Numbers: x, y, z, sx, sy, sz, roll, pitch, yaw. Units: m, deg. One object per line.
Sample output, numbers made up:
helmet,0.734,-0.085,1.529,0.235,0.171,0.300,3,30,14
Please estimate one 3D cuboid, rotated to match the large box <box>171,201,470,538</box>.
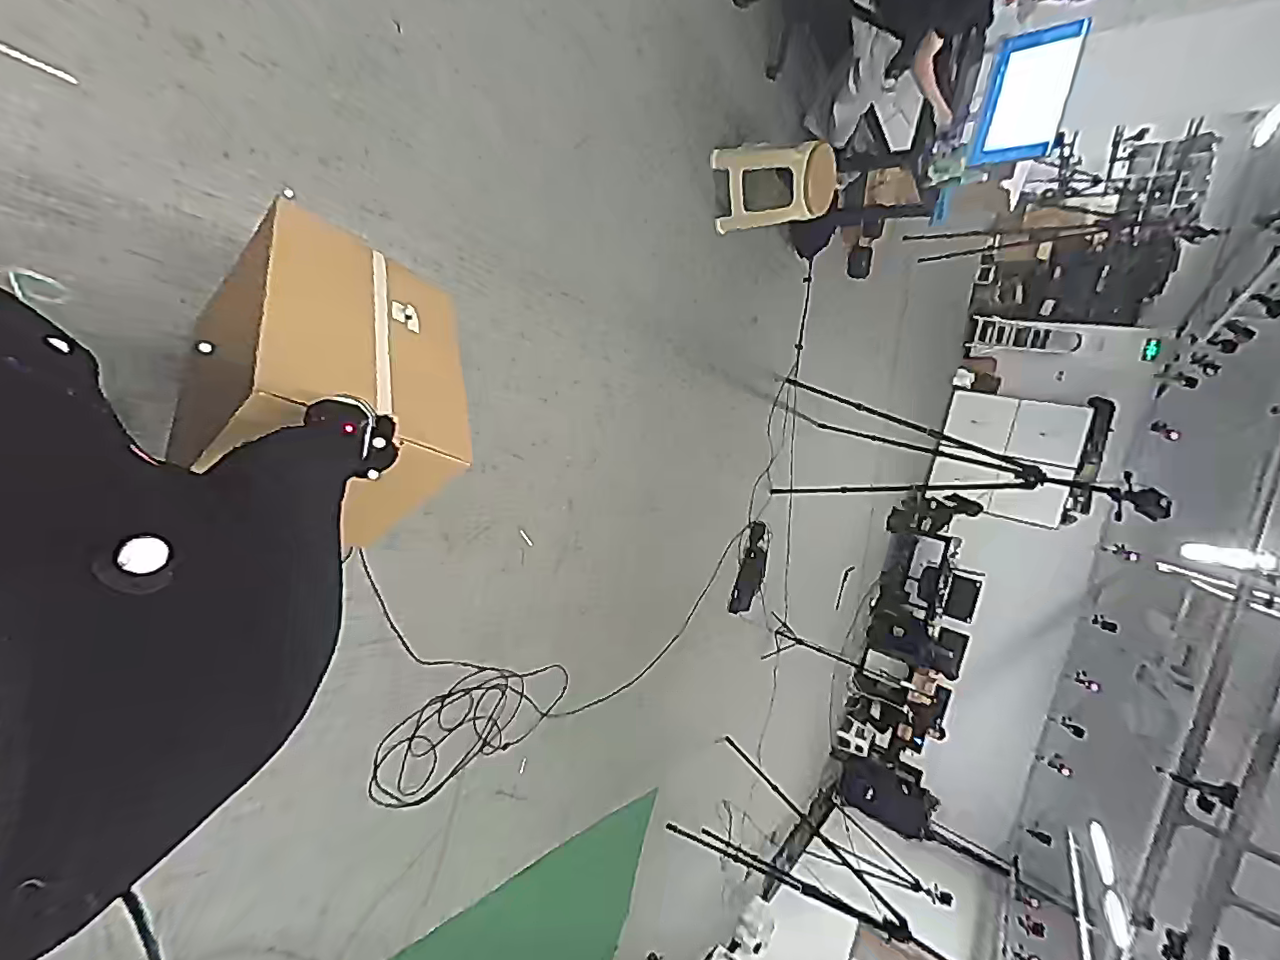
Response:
large box,-0.532,-0.160,0.922,0.320,0.320,0.408,24,40,-49
